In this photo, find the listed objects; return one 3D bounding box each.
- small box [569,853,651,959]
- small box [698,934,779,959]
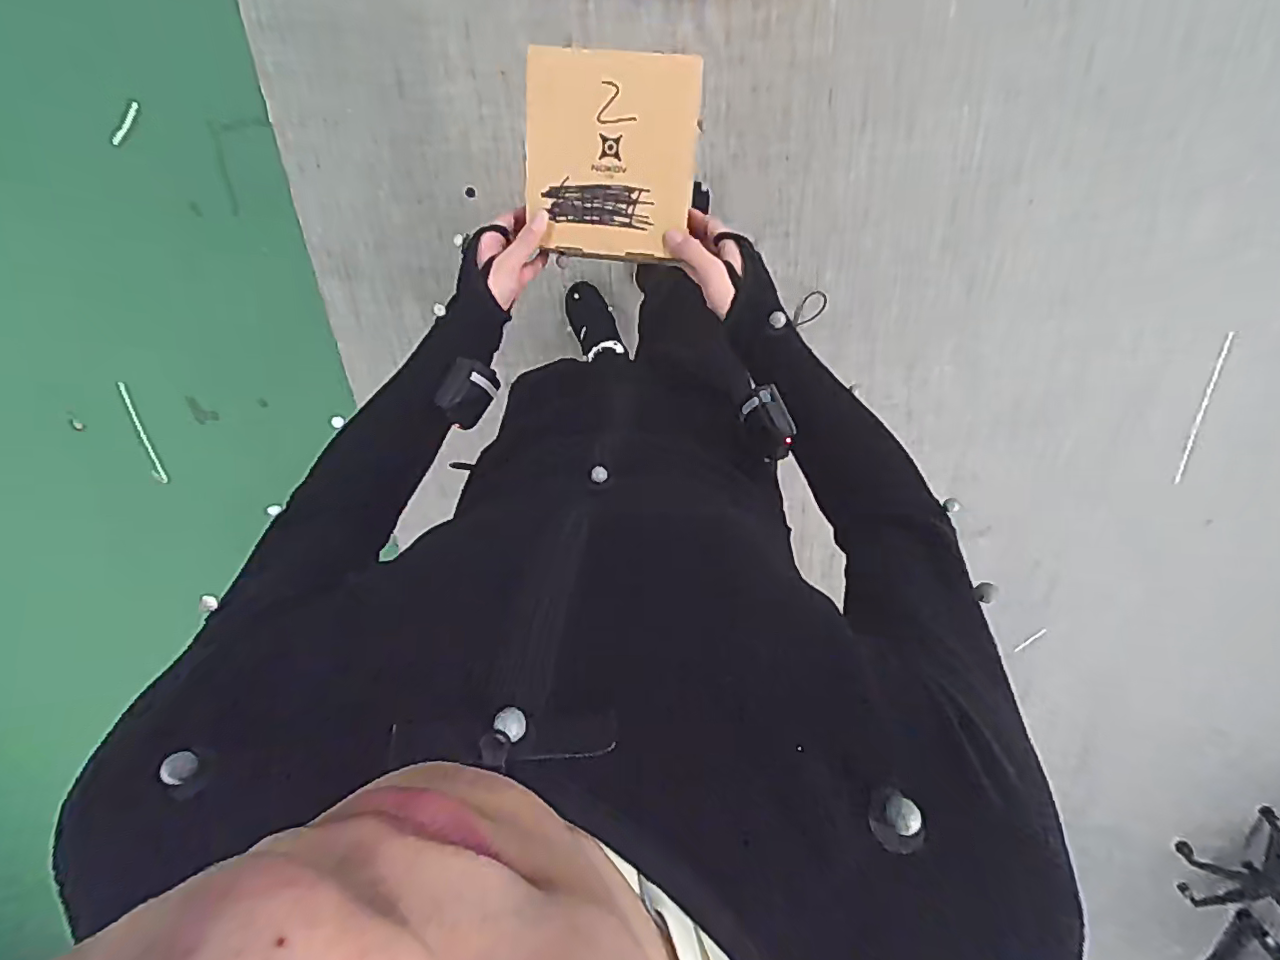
[{"bbox_3d":[-0.065,1.015,1.266,0.168,0.176,0.179,-8,115,2],"label":"small box"},{"bbox_3d":[0.213,1.085,1.127,0.168,0.176,0.179,-3,115,0],"label":"small box"}]
